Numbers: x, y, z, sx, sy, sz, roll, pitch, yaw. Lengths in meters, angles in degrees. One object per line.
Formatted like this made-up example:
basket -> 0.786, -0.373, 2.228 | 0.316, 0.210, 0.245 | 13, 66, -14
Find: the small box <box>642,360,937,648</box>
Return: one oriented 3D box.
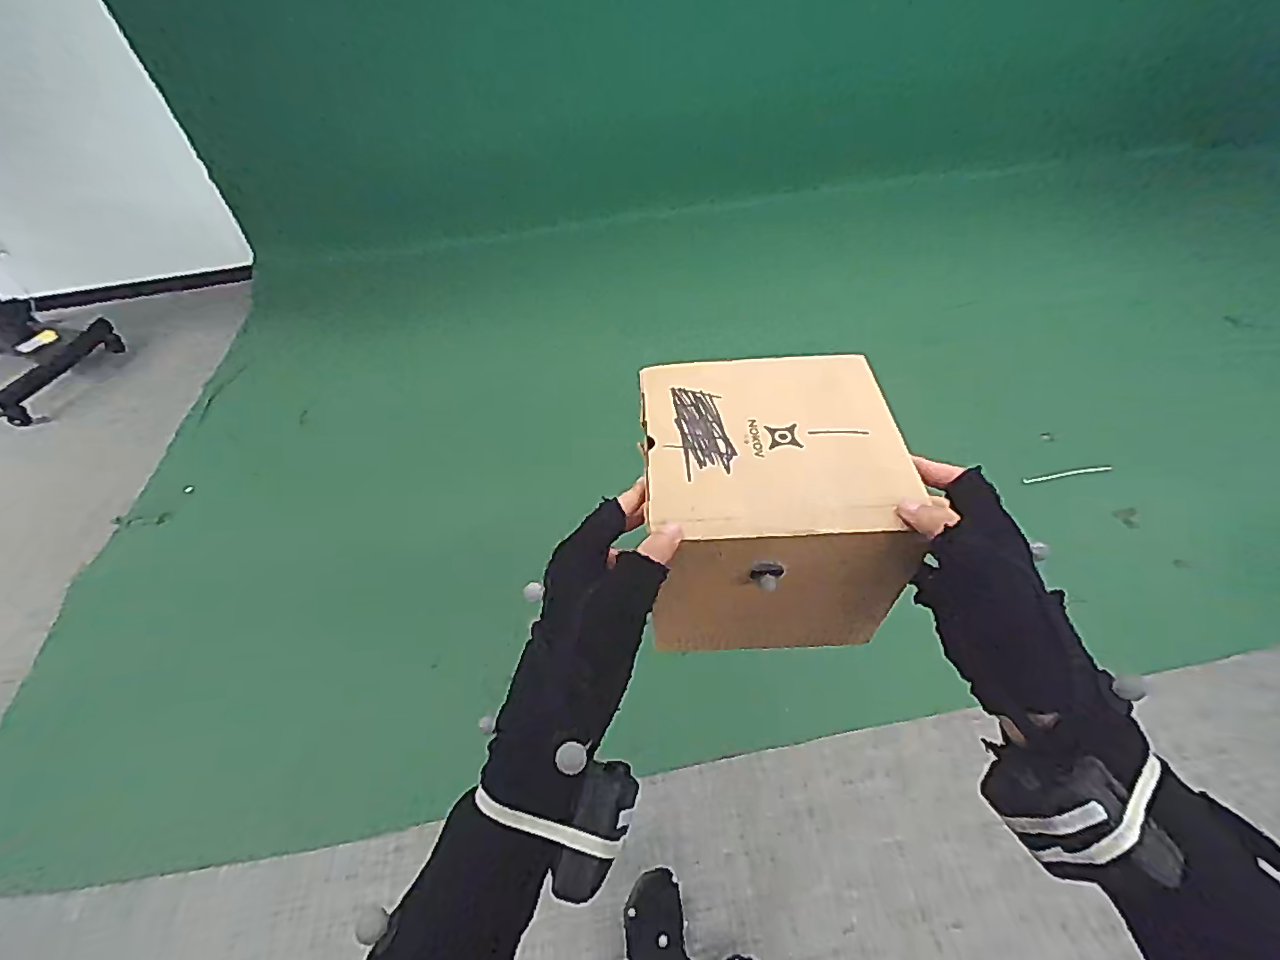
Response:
small box -> 0.094, 0.025, 0.434 | 0.179, 0.176, 0.168 | -2, 50, 1
